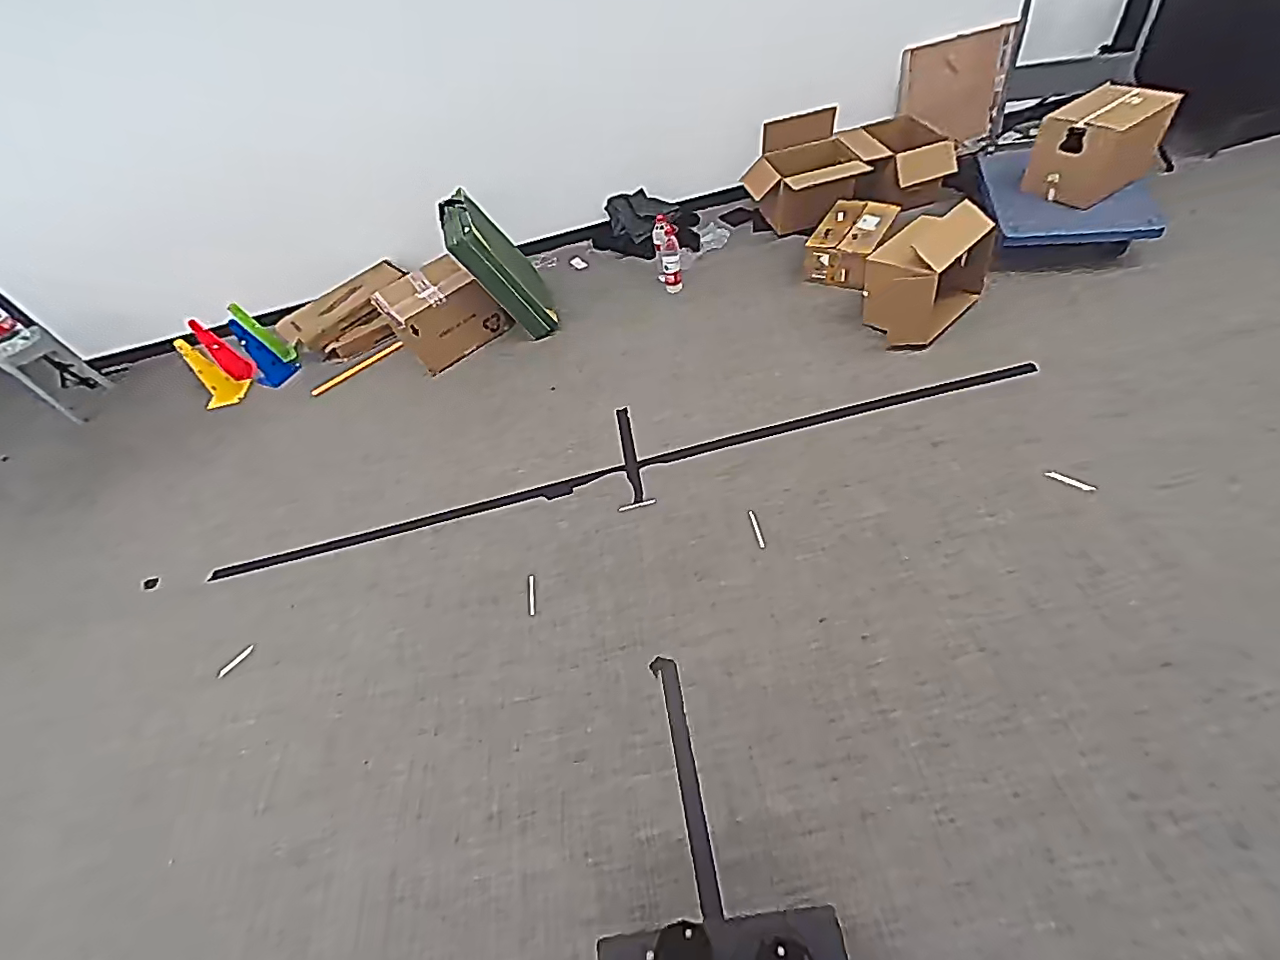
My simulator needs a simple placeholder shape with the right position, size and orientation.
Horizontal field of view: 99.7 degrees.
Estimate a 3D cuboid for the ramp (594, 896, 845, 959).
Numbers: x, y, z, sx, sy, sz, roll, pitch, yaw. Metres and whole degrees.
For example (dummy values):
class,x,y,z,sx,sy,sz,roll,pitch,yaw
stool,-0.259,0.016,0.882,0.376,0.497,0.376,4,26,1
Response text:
class,x,y,z,sx,sy,sz,roll,pitch,yaw
ramp,0.215,1.309,0.862,0.509,0.206,0.991,-12,51,2
